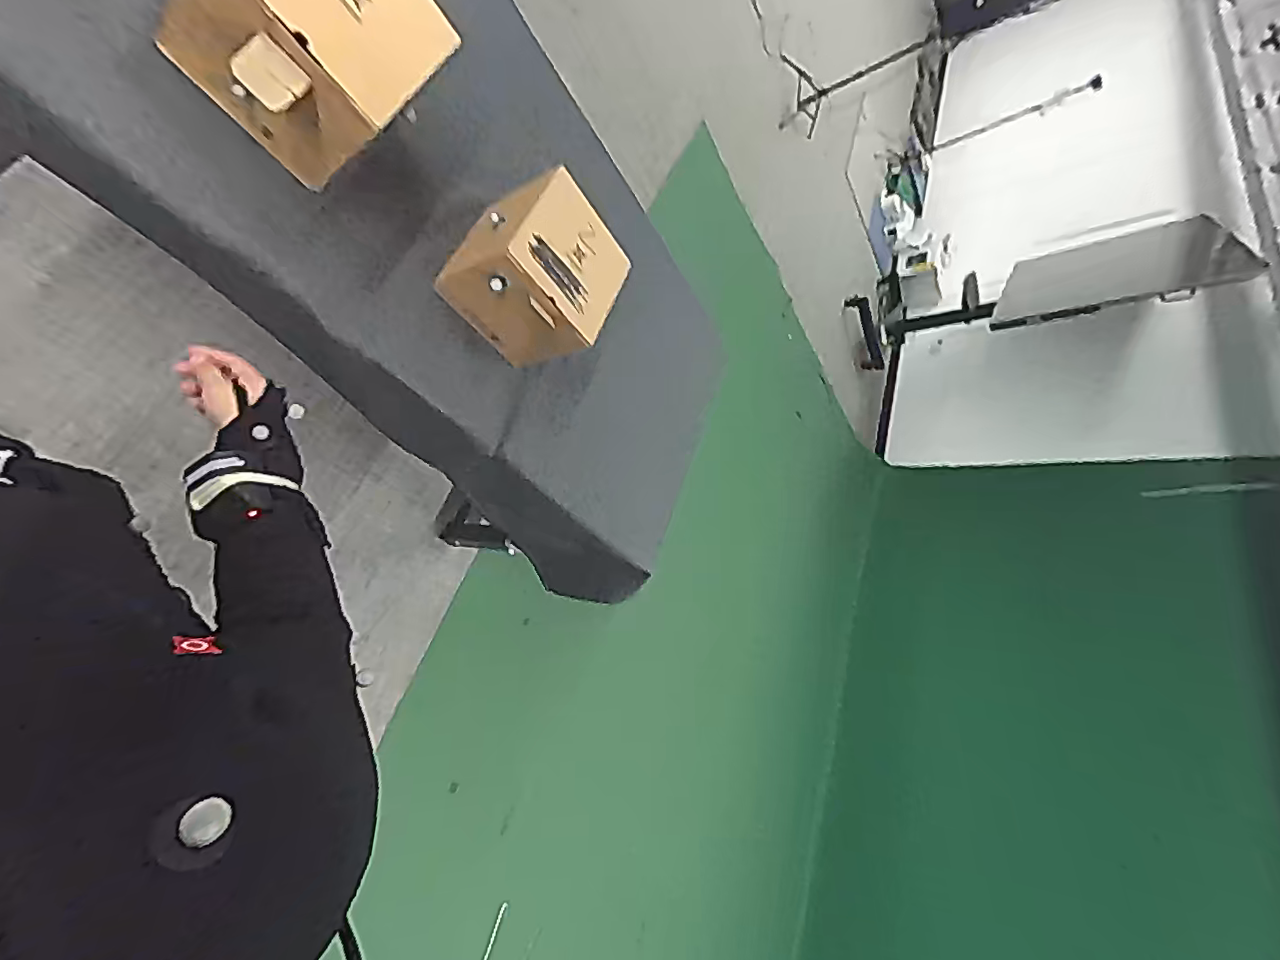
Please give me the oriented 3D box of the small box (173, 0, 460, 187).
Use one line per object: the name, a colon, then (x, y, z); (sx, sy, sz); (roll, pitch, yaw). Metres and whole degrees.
small box: (-0.332, -0.450, 0.561); (0.168, 0.176, 0.179); (45, 57, -41)
